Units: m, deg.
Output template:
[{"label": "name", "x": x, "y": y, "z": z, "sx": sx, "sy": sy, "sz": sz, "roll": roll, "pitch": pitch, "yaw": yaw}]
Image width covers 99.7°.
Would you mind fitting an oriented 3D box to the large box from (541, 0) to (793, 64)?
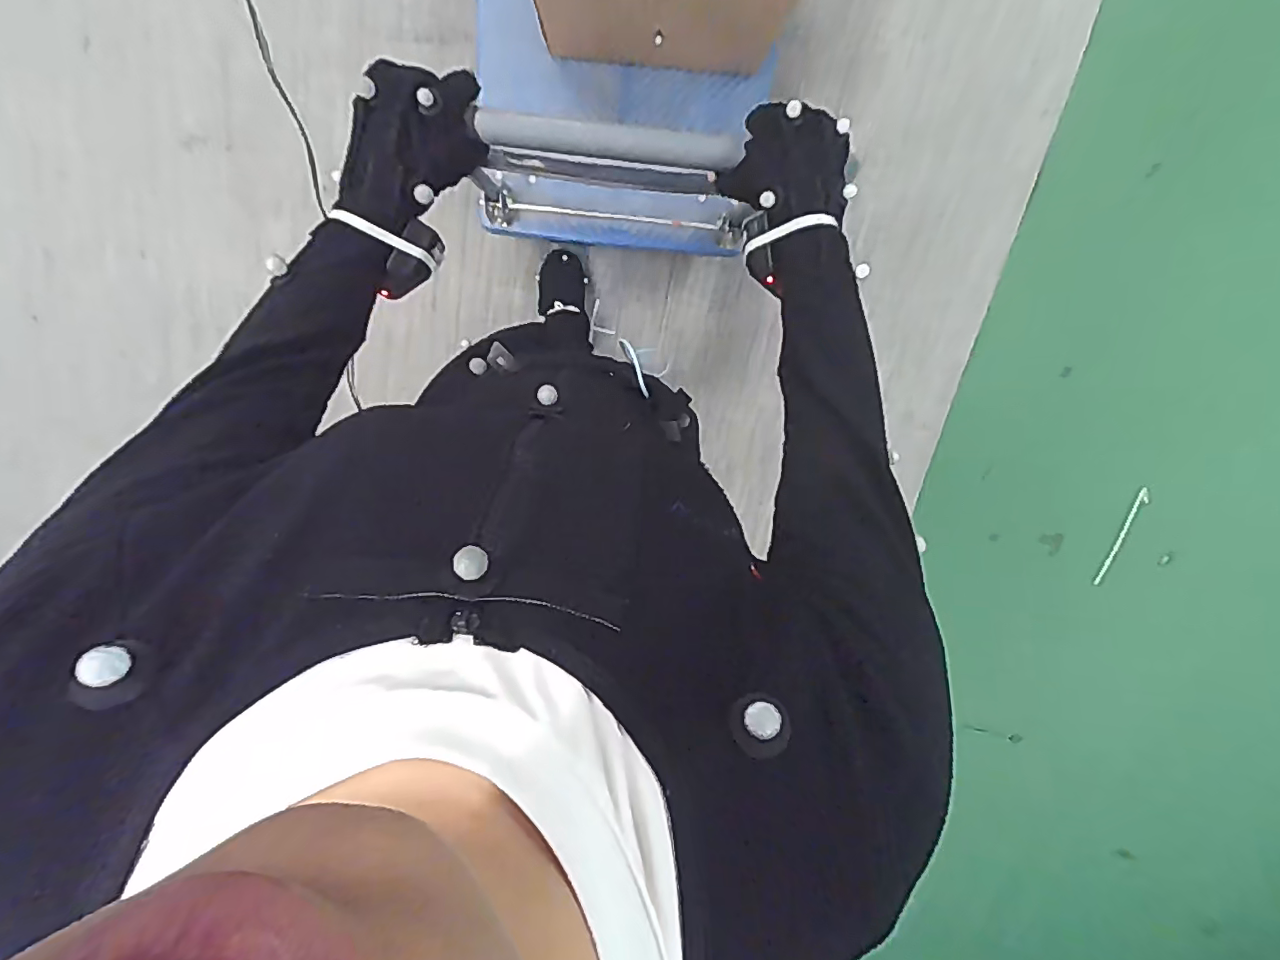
[{"label": "large box", "x": 0.046, "y": -0.920, "z": 0.871, "sx": 0.408, "sy": 0.320, "sz": 0.320, "roll": 3, "pitch": 108, "yaw": -2}]
